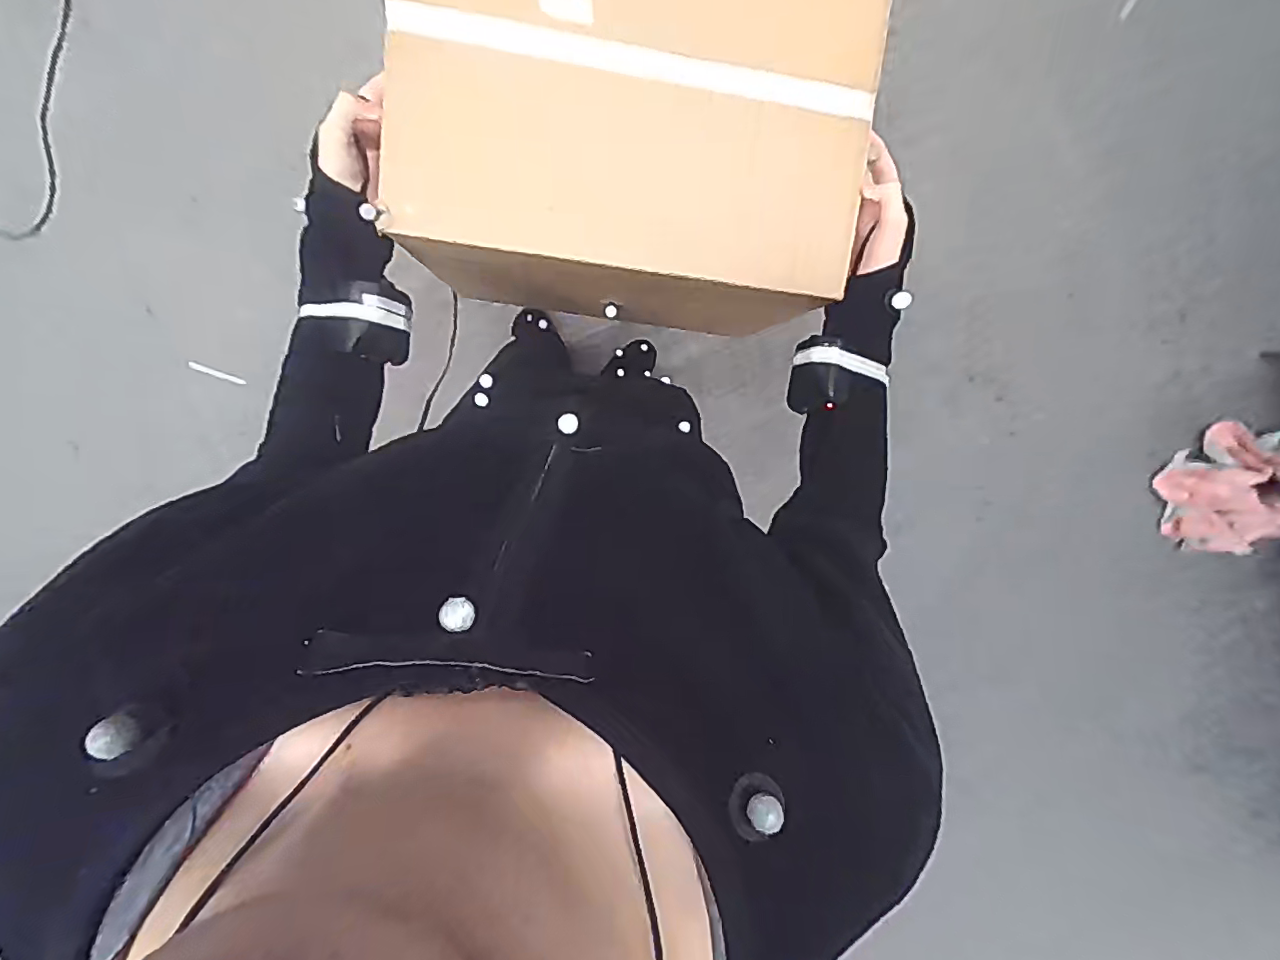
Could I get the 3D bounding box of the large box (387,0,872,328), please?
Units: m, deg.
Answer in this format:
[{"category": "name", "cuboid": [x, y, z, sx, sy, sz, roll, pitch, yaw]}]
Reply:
[{"category": "large box", "cuboid": [-0.017, -0.359, 0.604, 0.408, 0.320, 0.320, 5, 98, -6]}]
